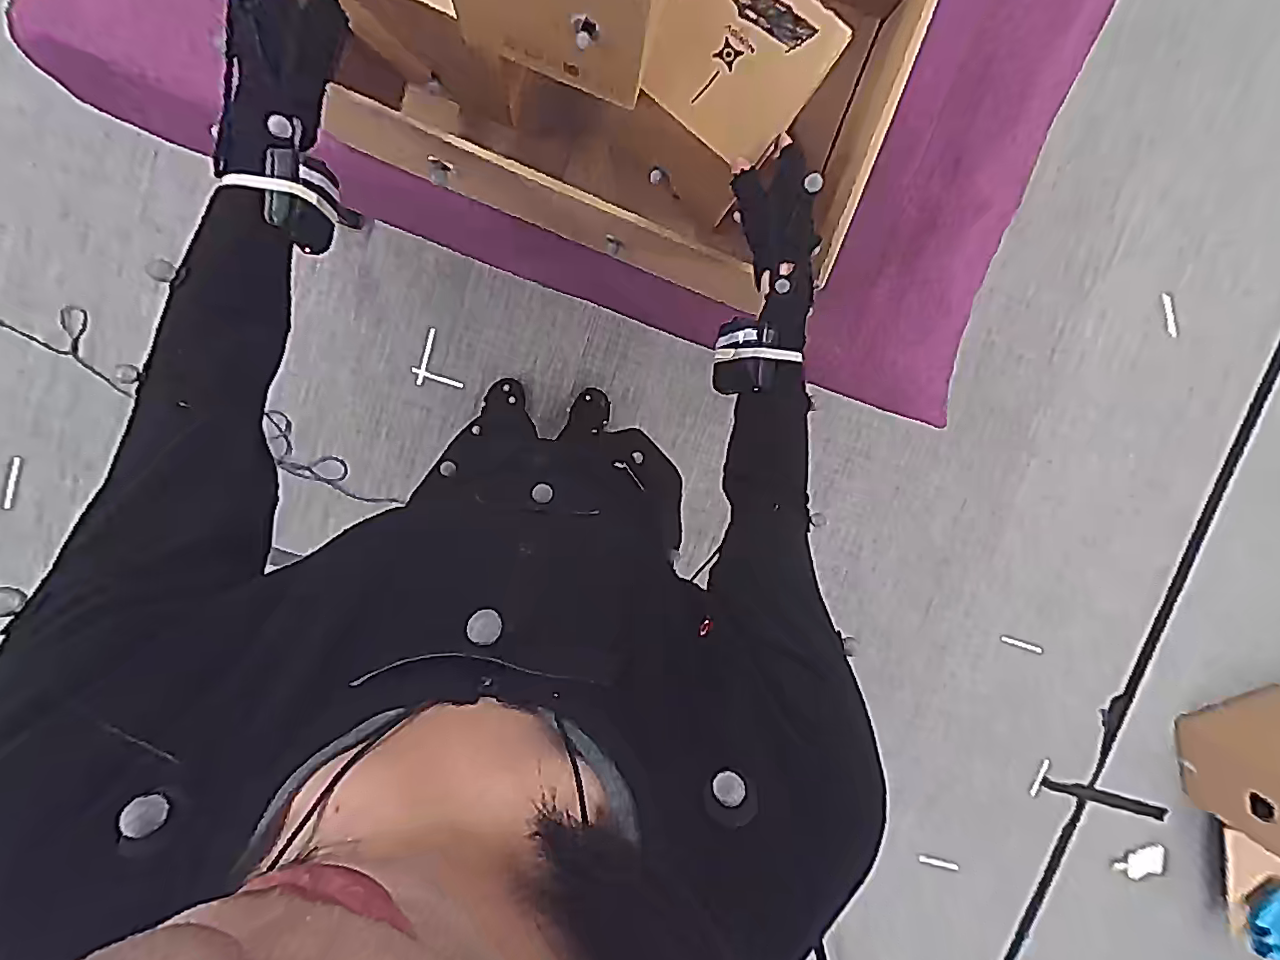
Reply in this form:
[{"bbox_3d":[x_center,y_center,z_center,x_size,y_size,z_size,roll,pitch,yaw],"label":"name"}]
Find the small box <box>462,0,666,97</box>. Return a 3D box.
[{"bbox_3d":[-0.047,-0.446,0.412,0.168,0.176,0.179,18,95,-9],"label":"small box"}]
